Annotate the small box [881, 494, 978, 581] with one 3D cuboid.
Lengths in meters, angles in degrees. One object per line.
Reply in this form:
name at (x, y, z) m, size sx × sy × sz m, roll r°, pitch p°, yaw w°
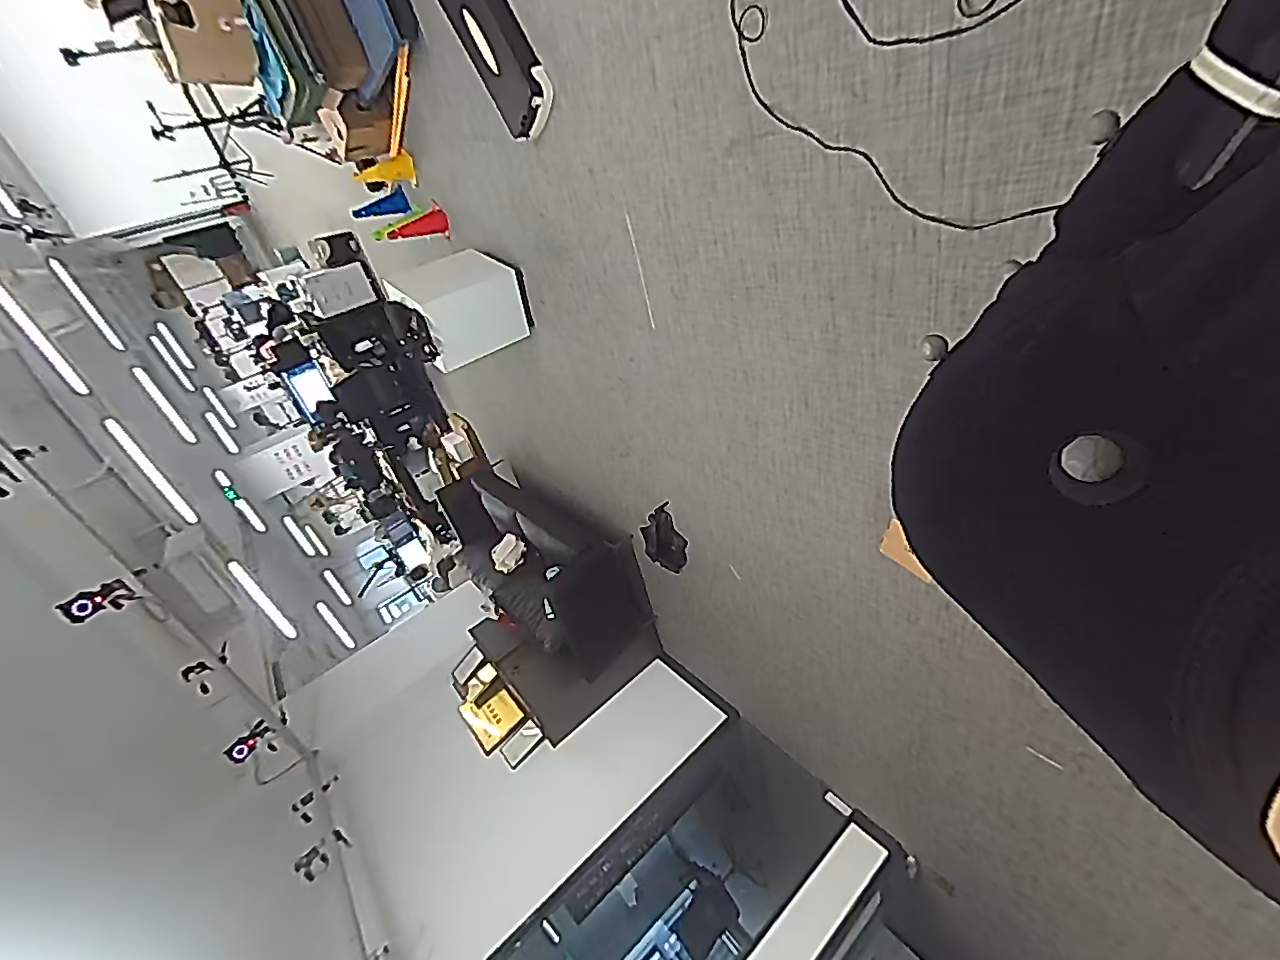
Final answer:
small box at (0.879, 0.166, 1.647) m, size 0.179 × 0.176 × 0.168 m, roll 38°, pitch 149°, yaw 33°
